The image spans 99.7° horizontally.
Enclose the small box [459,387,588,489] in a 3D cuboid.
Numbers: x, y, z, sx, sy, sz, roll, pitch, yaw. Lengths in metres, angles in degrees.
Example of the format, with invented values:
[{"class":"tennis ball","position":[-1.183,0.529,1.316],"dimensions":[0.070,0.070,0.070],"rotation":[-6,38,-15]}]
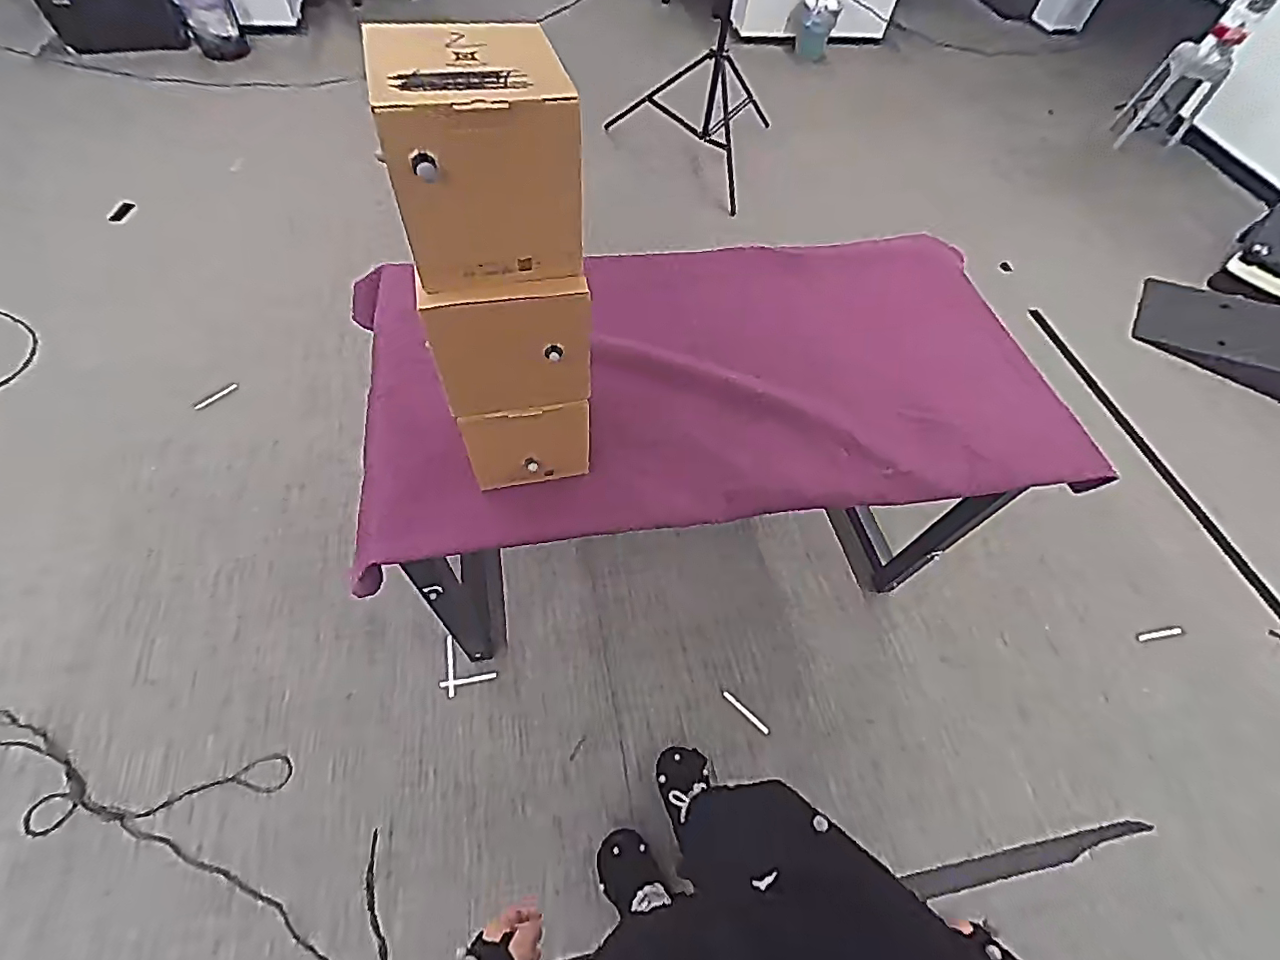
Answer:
[{"class":"small box","position":[-0.174,-0.110,0.800],"dimensions":[0.168,0.176,0.179],"rotation":[-9,59,-11]}]

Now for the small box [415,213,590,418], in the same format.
[{"class":"small box","position":[-0.162,-0.198,0.665],"dimensions":[0.179,0.176,0.168],"rotation":[-11,57,-11]}]
